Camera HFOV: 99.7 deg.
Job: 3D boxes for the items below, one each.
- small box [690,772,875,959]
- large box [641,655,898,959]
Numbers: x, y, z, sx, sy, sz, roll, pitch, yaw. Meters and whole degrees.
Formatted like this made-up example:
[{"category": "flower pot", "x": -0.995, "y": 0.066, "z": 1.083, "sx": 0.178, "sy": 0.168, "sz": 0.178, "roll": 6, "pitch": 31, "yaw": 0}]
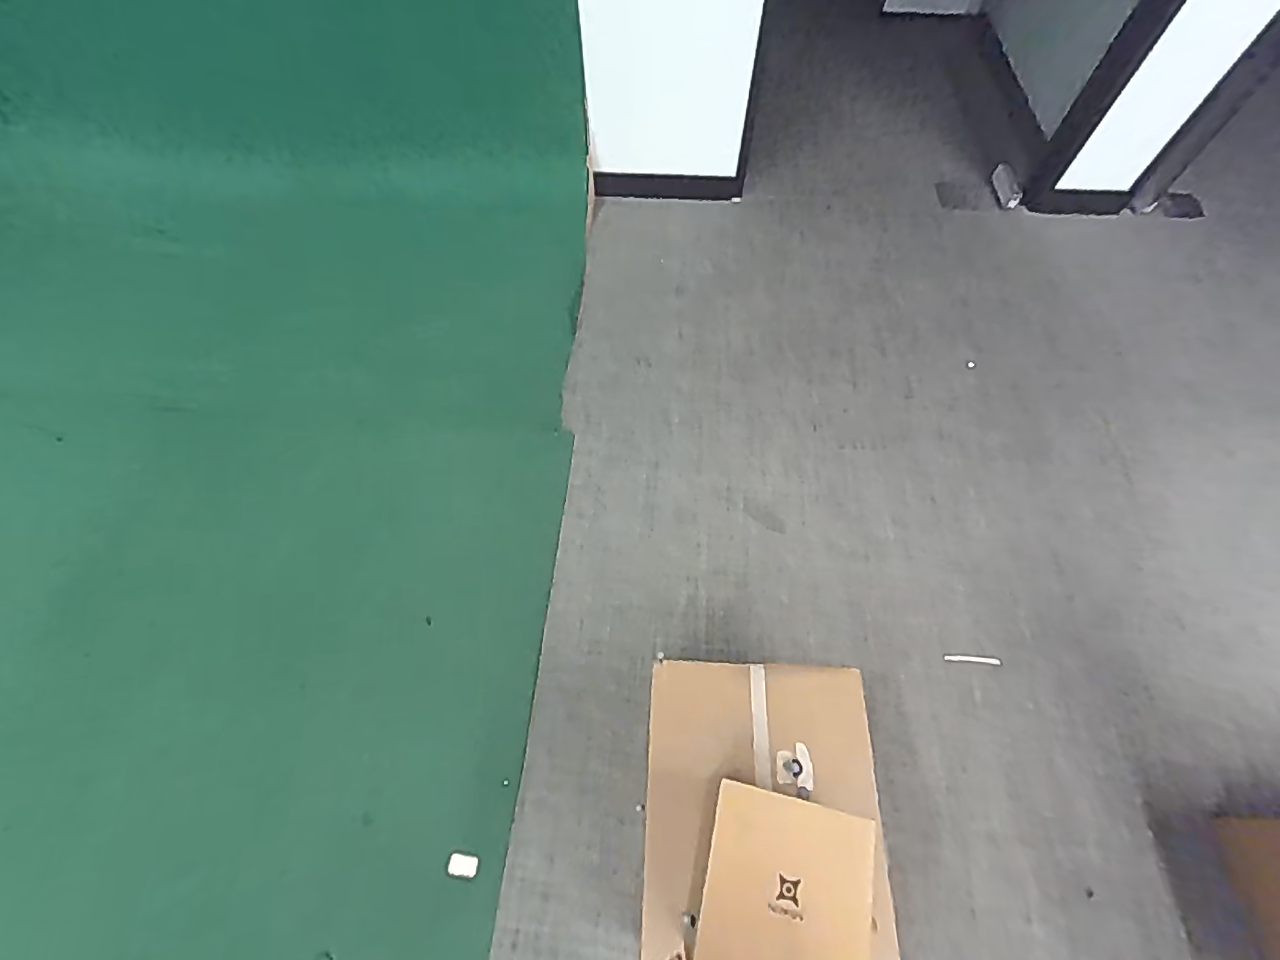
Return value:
[{"category": "small box", "x": 0.153, "y": 0.448, "z": 0.615, "sx": 0.168, "sy": 0.176, "sz": 0.179, "roll": 11, "pitch": 63, "yaw": 8}, {"category": "large box", "x": 0.167, "y": 0.518, "z": 0.856, "sx": 0.320, "sy": 0.320, "sz": 0.408, "roll": 2, "pitch": 61, "yaw": 2}]
